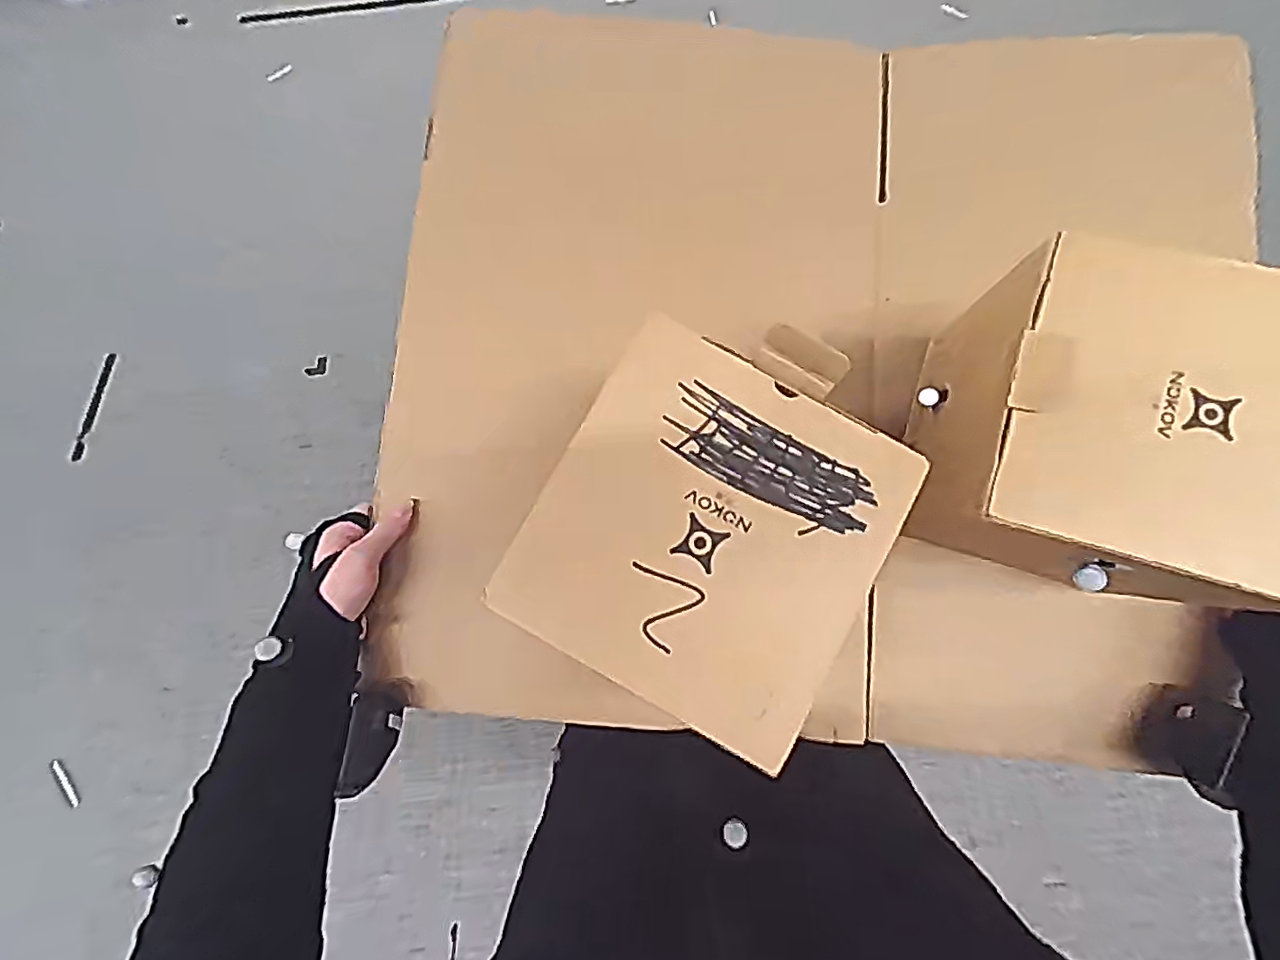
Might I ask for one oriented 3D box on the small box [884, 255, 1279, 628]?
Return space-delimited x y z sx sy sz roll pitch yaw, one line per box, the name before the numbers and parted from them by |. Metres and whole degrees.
small box | 0.295 -0.017 0.364 0.179 0.176 0.168 17 86 9
